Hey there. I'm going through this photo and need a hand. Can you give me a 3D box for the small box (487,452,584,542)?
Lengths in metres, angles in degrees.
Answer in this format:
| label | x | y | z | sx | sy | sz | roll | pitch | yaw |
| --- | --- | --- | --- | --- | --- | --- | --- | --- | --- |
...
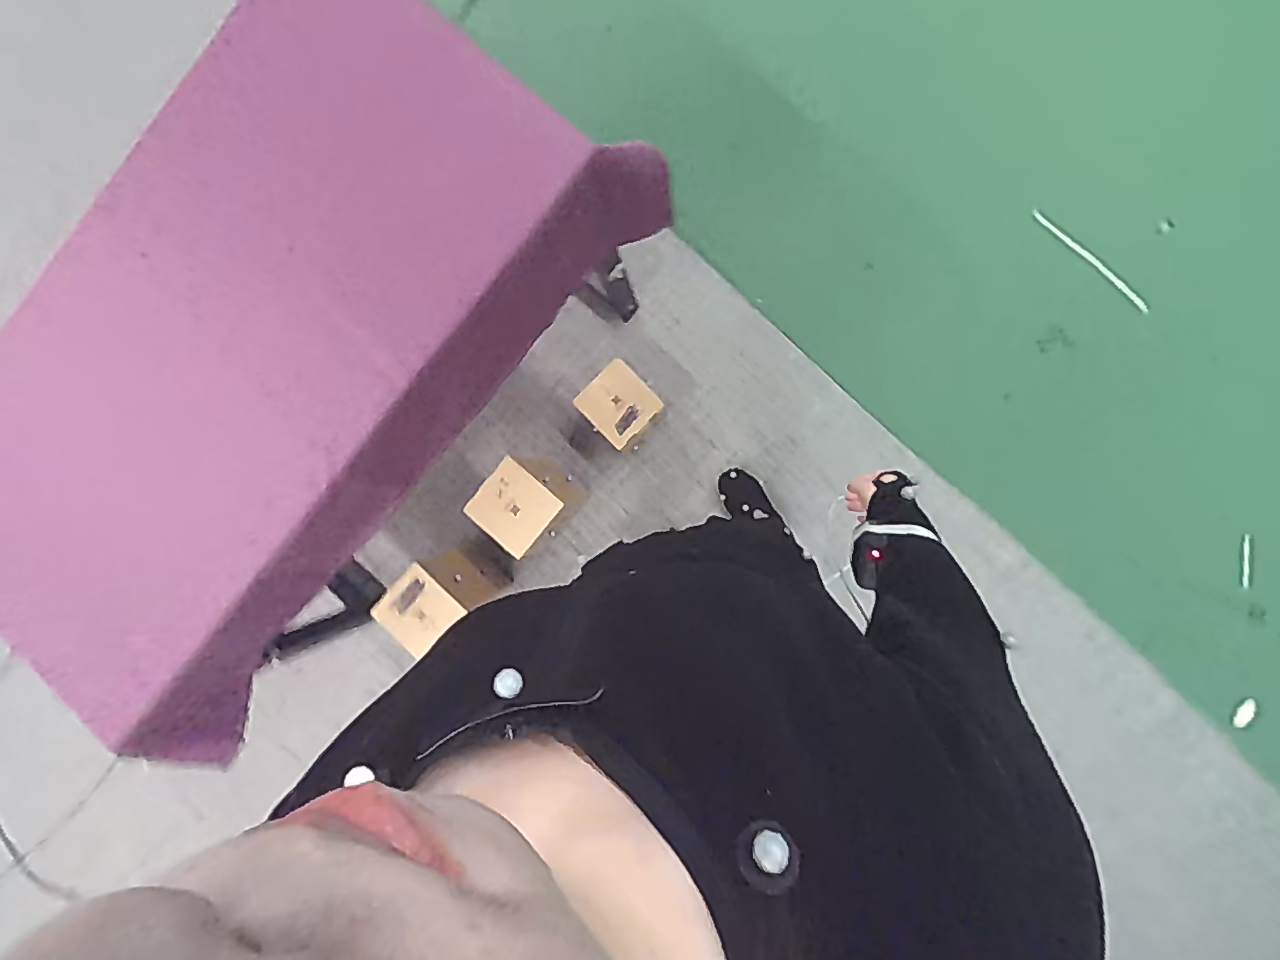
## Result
| label | x | y | z | sx | sy | sz | roll | pitch | yaw |
| --- | --- | --- | --- | --- | --- | --- | --- | --- | --- |
| small box | -0.273 | 0.043 | 1.462 | 0.168 | 0.176 | 0.179 | 42 | 94 | 4 |
